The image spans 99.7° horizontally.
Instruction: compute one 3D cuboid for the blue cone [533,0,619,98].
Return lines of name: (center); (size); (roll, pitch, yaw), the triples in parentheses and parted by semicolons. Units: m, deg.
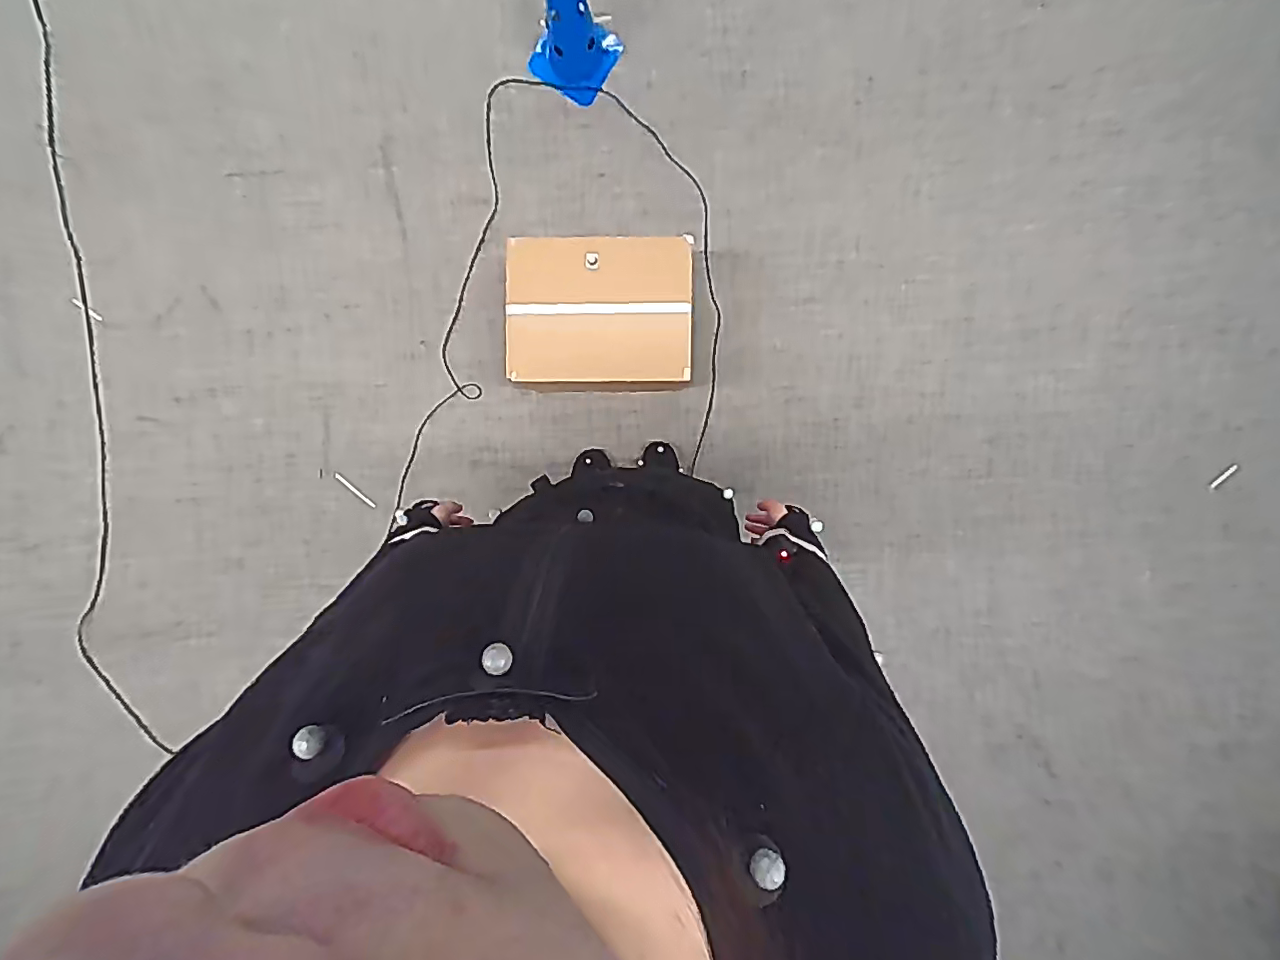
blue cone: (-0.166, -1.108, 1.243); (0.192, 0.380, 0.193); (30, 92, -2)
